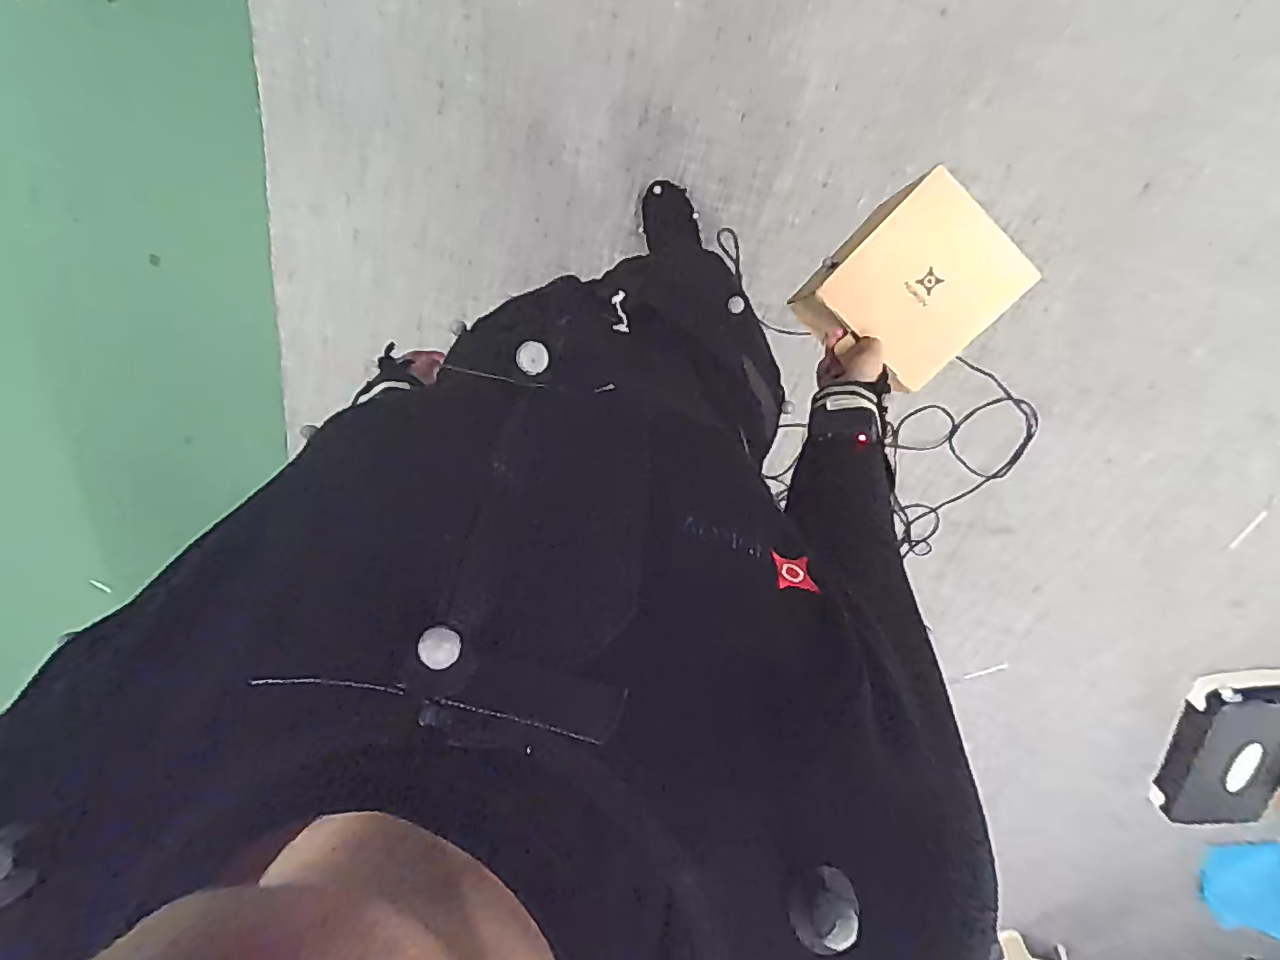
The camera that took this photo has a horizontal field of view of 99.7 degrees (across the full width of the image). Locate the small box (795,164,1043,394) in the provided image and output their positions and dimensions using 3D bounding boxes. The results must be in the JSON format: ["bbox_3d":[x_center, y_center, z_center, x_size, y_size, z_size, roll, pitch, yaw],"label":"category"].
[{"bbox_3d":[0.315,-0.230,0.655,0.168,0.176,0.179,42,104,-7],"label":"small box"}]
